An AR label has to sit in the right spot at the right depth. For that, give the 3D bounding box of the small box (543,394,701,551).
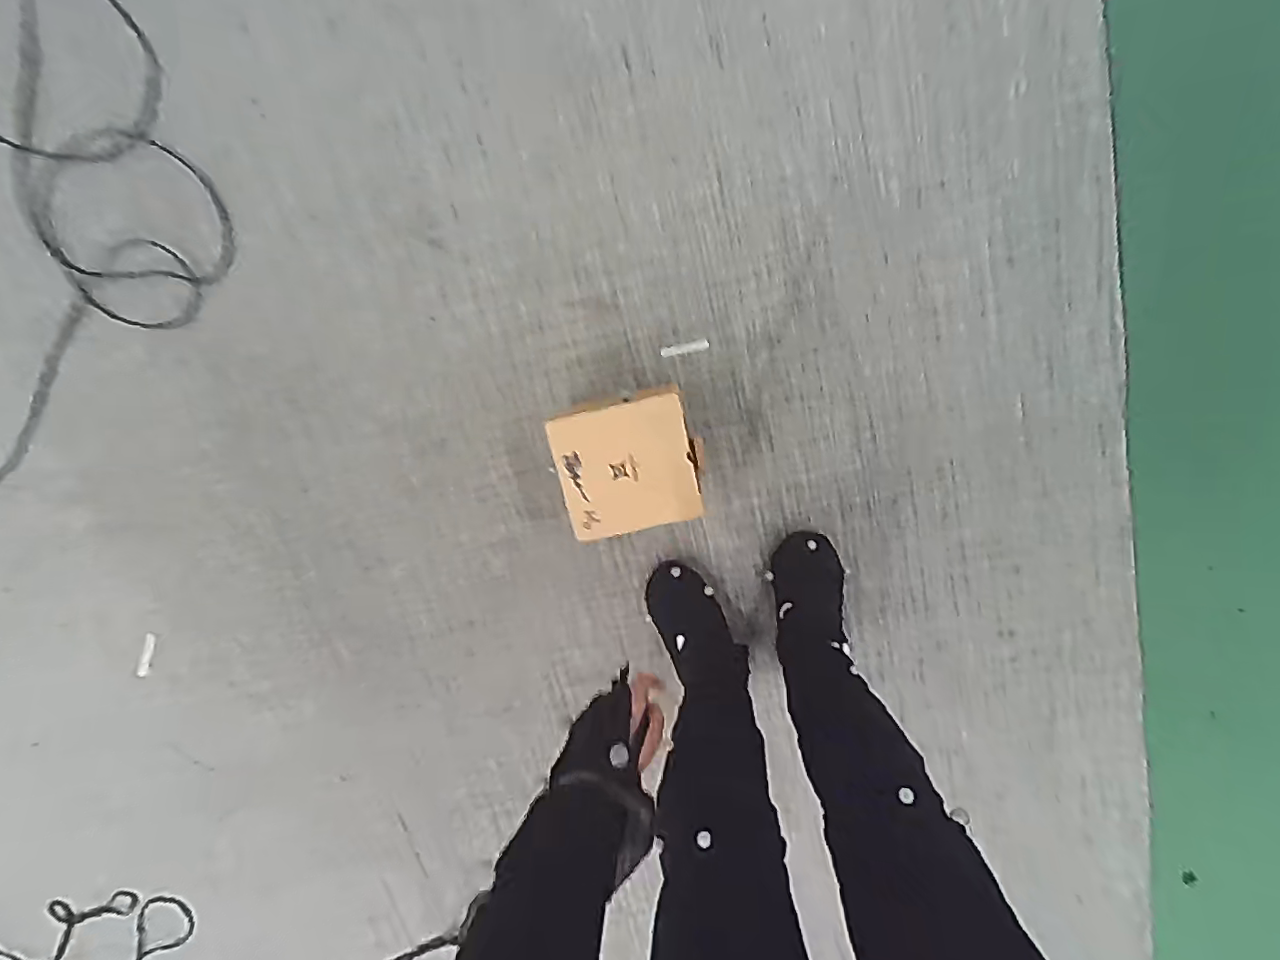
[{"bbox_3d":[-0.022,-0.020,0.770,0.179,0.176,0.168,-13,103,4],"label":"small box"}]
